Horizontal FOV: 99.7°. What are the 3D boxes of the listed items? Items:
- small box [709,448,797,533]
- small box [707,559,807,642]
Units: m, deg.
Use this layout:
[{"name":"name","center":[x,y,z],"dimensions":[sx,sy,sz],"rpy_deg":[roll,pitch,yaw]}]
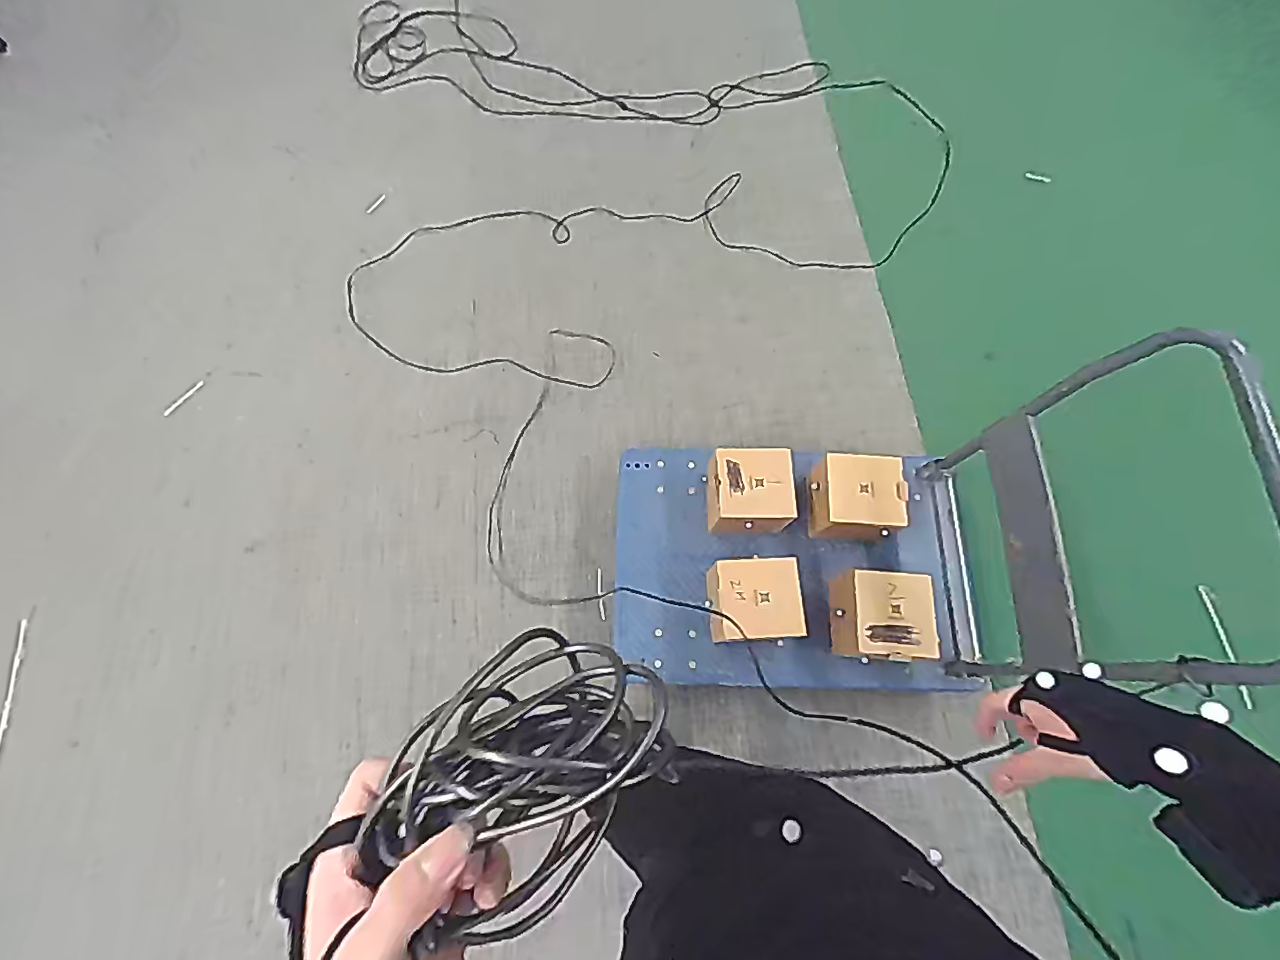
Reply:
[{"name":"small box","center":[0.259,0.030,1.286],"dimensions":[0.179,0.176,0.168],"rpy_deg":[1,73,-2]},{"name":"small box","center":[0.252,0.272,1.207],"dimensions":[0.179,0.176,0.168],"rpy_deg":[-2,71,-2]}]
